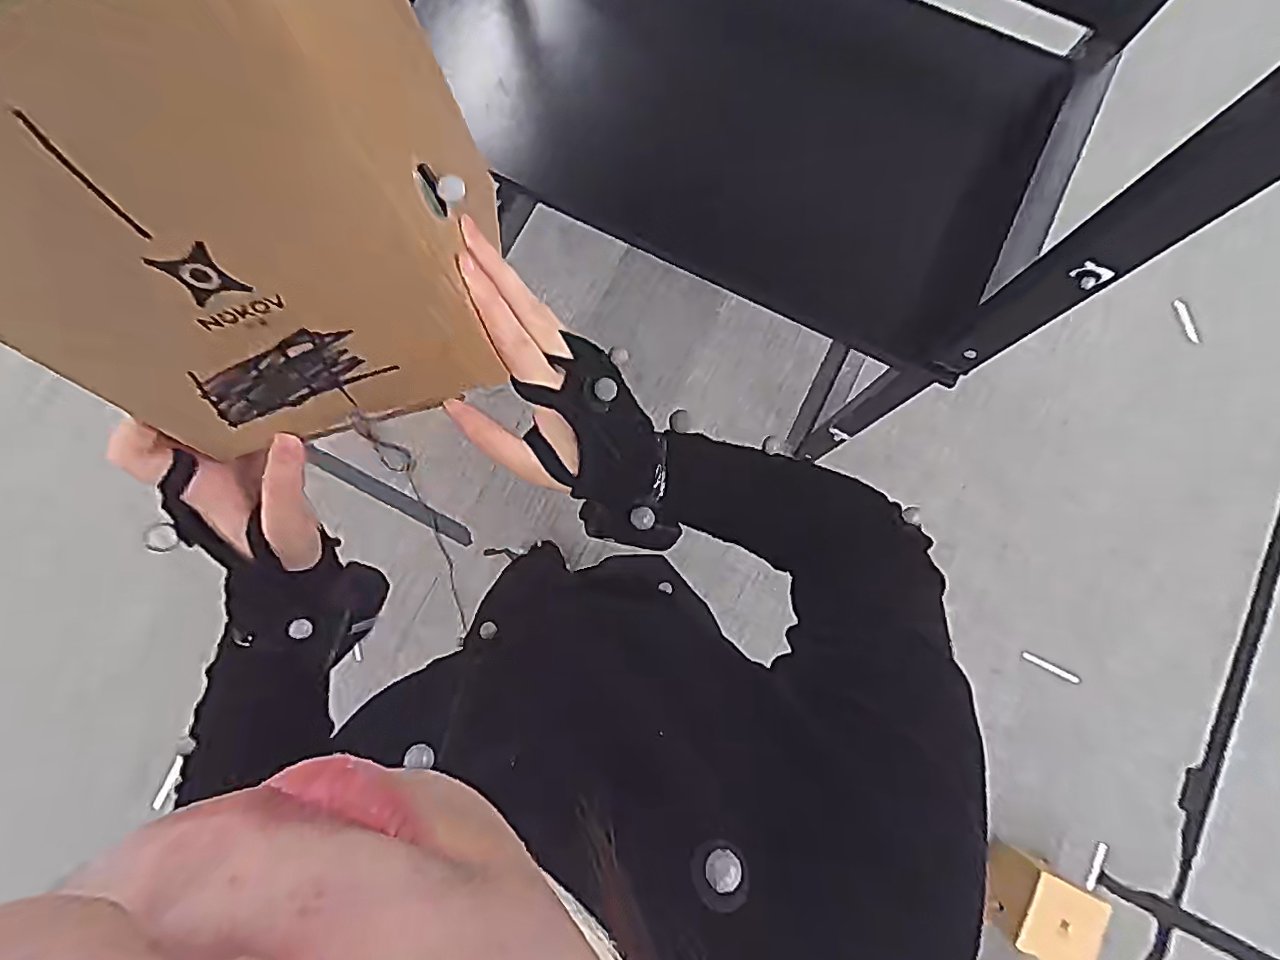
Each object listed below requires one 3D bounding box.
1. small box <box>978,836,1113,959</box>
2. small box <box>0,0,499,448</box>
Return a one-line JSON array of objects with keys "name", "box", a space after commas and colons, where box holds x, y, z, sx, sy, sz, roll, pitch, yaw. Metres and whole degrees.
[{"name": "small box", "box": [0.939, 0.996, 1.272, 0.168, 0.176, 0.179, 26, 83, 5]}, {"name": "small box", "box": [-0.172, -0.143, 0.229, 0.168, 0.179, 0.176, -15, 61, 5]}]
